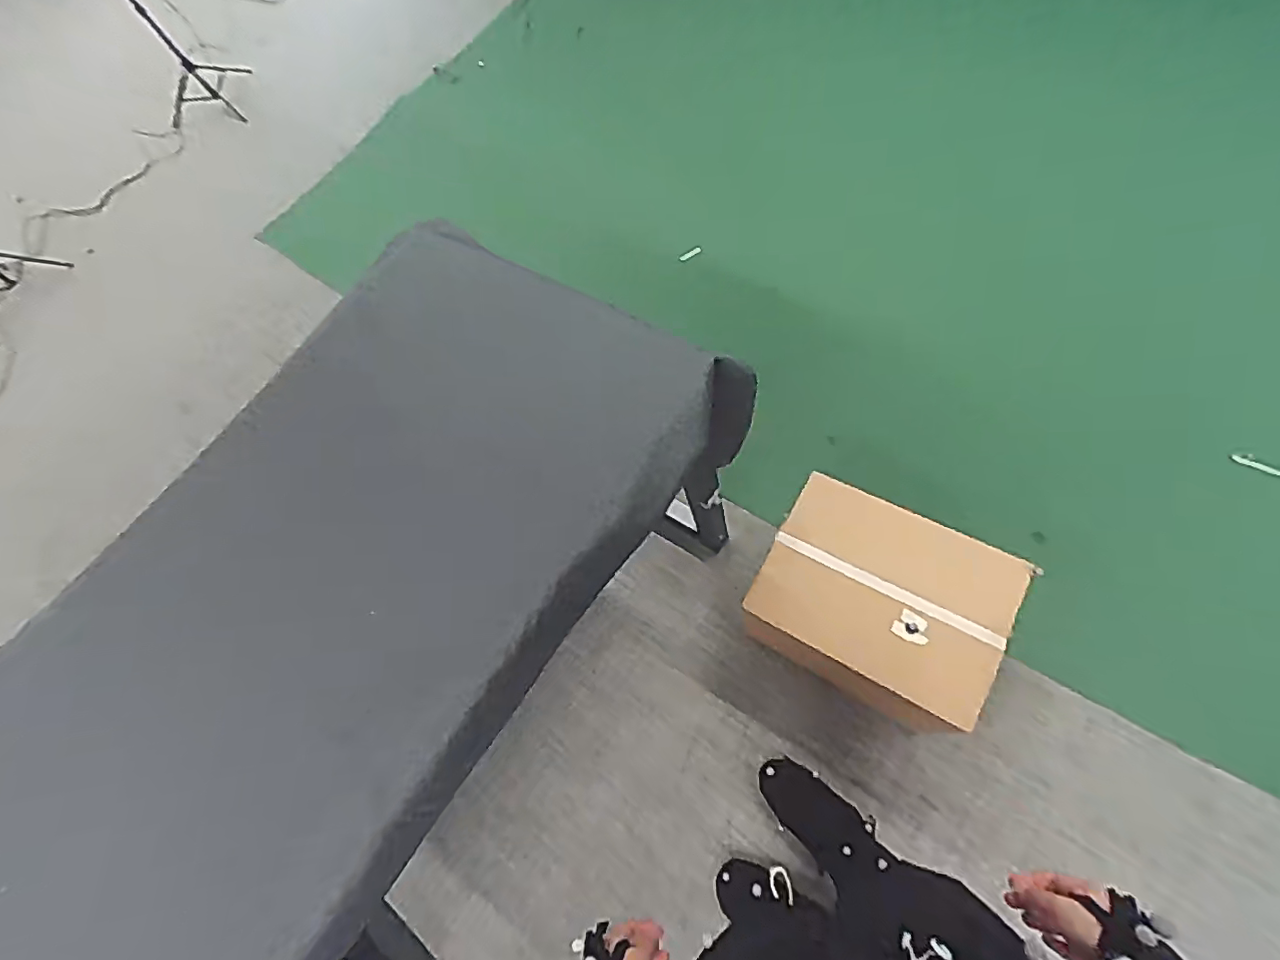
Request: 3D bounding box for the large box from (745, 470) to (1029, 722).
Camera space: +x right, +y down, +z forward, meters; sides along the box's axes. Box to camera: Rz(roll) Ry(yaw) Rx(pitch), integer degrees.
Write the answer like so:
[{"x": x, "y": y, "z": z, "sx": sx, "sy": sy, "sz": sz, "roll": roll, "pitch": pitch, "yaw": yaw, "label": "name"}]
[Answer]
[{"x": 0.459, "y": 0.241, "z": 1.099, "sx": 0.408, "sy": 0.320, "sz": 0.320, "roll": 26, "pitch": 74, "yaw": 21, "label": "large box"}]
